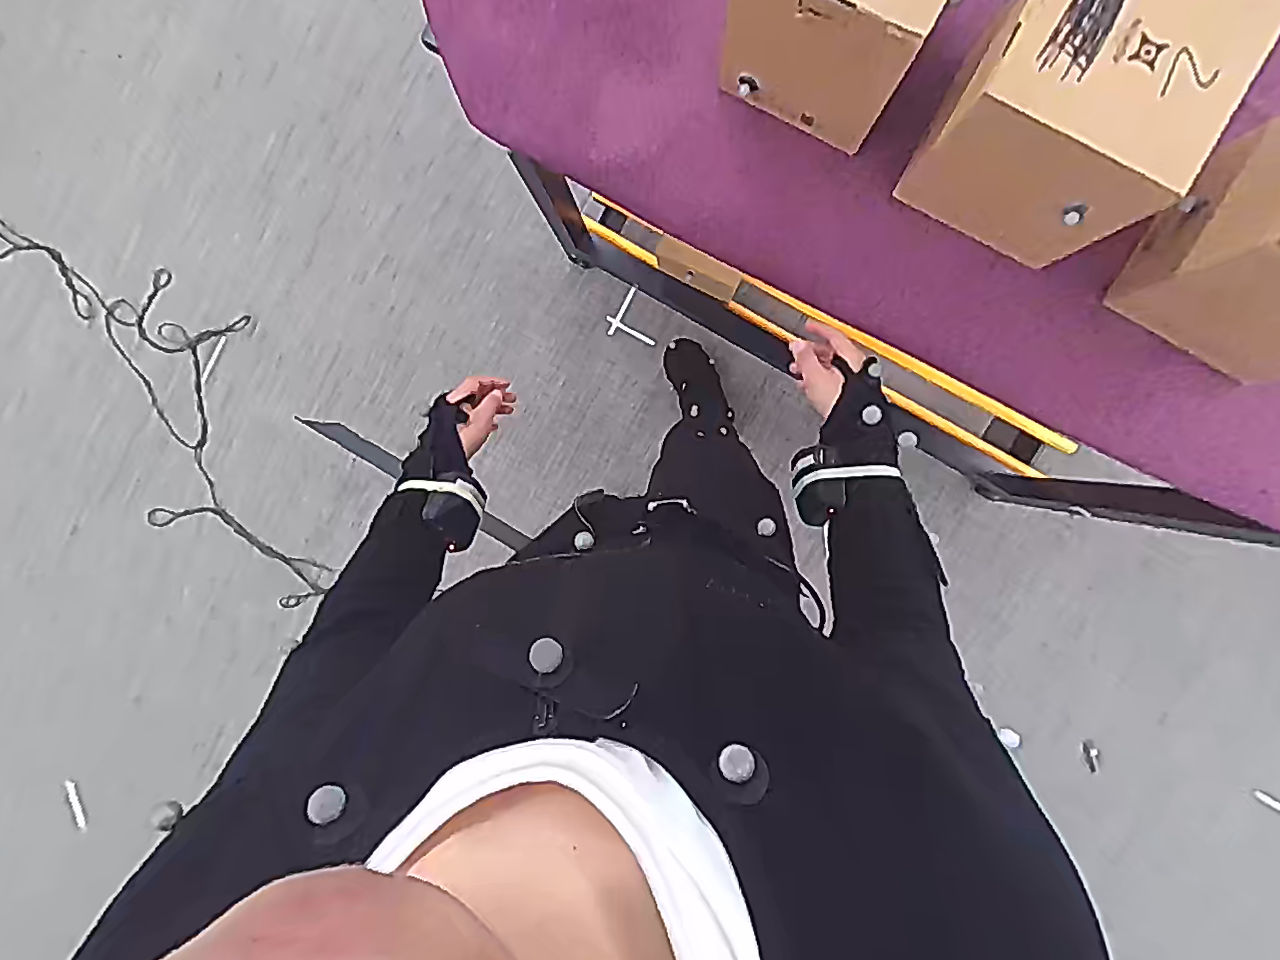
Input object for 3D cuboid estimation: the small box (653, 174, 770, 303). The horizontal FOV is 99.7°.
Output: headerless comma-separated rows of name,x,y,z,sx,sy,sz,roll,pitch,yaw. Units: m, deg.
small box,0.142,-0.484,1.116,0.179,0.176,0.168,25,97,2
